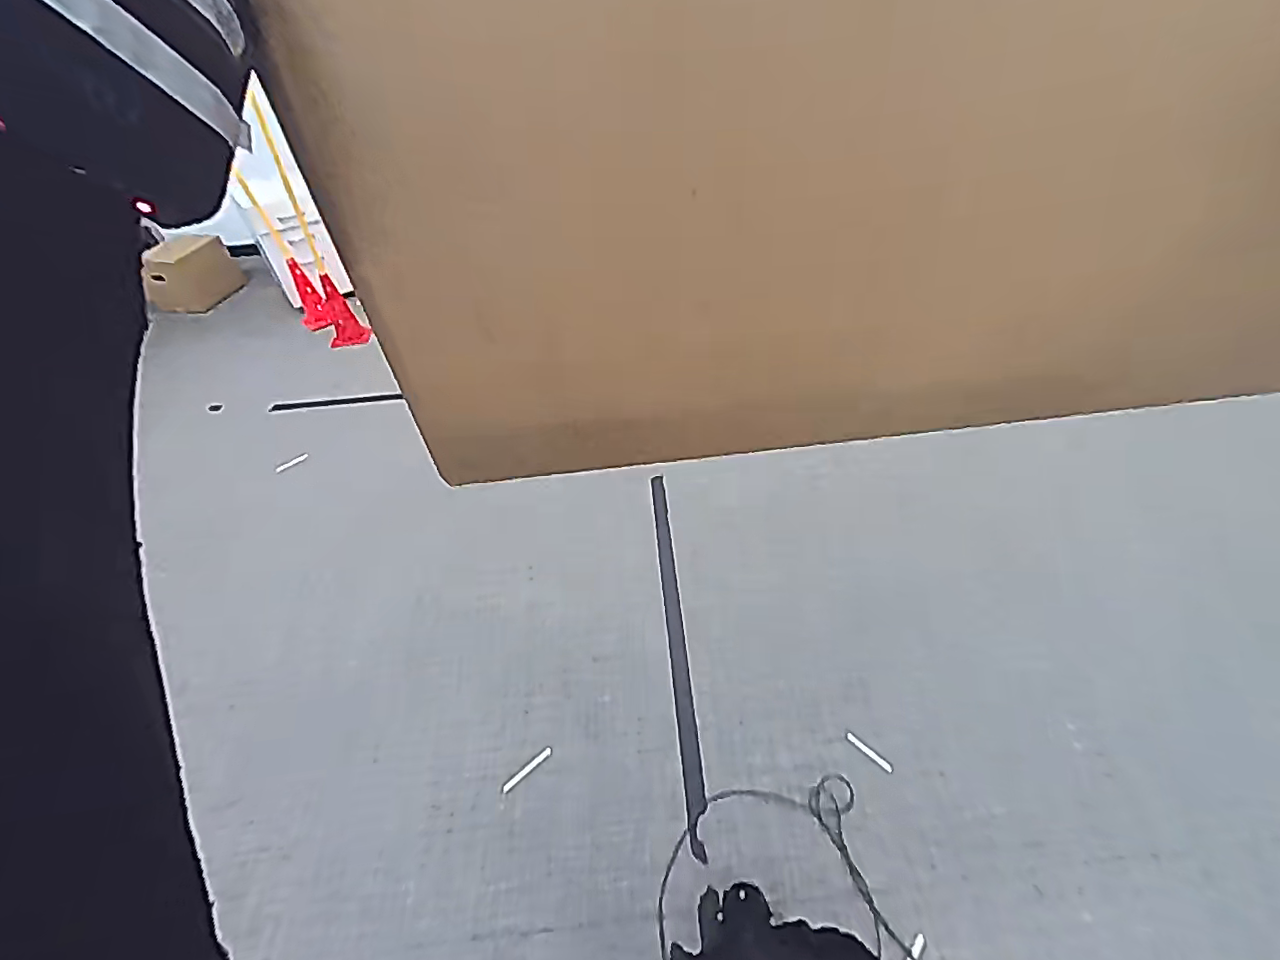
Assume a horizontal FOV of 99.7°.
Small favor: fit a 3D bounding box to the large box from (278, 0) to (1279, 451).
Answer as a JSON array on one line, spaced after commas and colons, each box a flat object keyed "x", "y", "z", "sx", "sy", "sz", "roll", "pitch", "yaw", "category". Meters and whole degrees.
[{"x": 0.079, "y": -0.242, "z": 0.283, "sx": 0.408, "sy": 0.320, "sz": 0.320, "roll": -6, "pitch": 41, "yaw": 1, "category": "large box"}]
